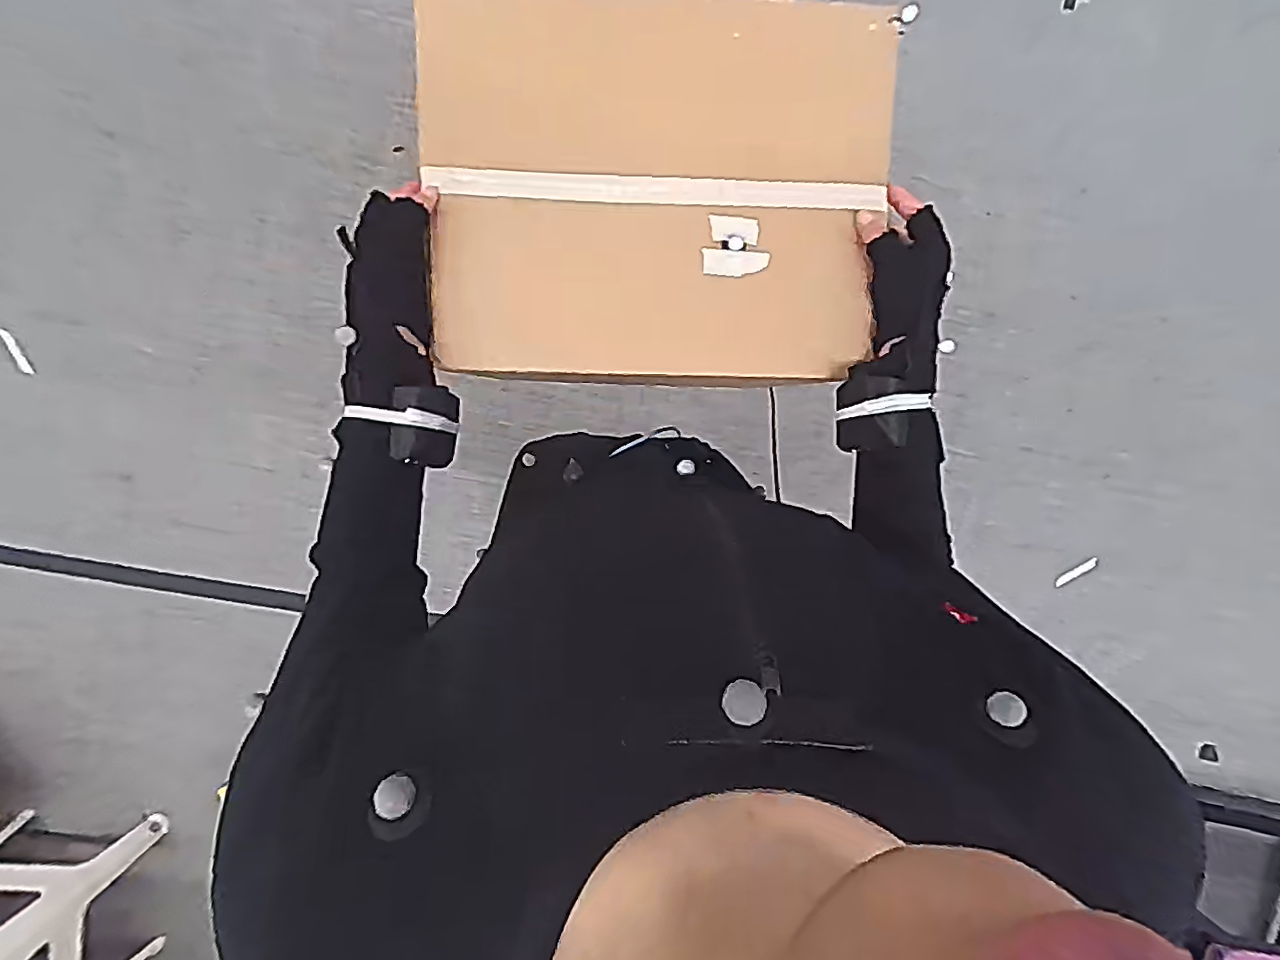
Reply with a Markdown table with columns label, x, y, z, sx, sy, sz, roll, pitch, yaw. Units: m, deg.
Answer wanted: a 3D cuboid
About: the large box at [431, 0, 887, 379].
| label | x | y | z | sx | sy | sz | roll | pitch | yaw |
| --- | --- | --- | --- | --- | --- | --- | --- | --- | --- |
| large box | 0.007 | -0.283 | 0.634 | 0.408 | 0.320 | 0.320 | 1 | 100 | -4 |
